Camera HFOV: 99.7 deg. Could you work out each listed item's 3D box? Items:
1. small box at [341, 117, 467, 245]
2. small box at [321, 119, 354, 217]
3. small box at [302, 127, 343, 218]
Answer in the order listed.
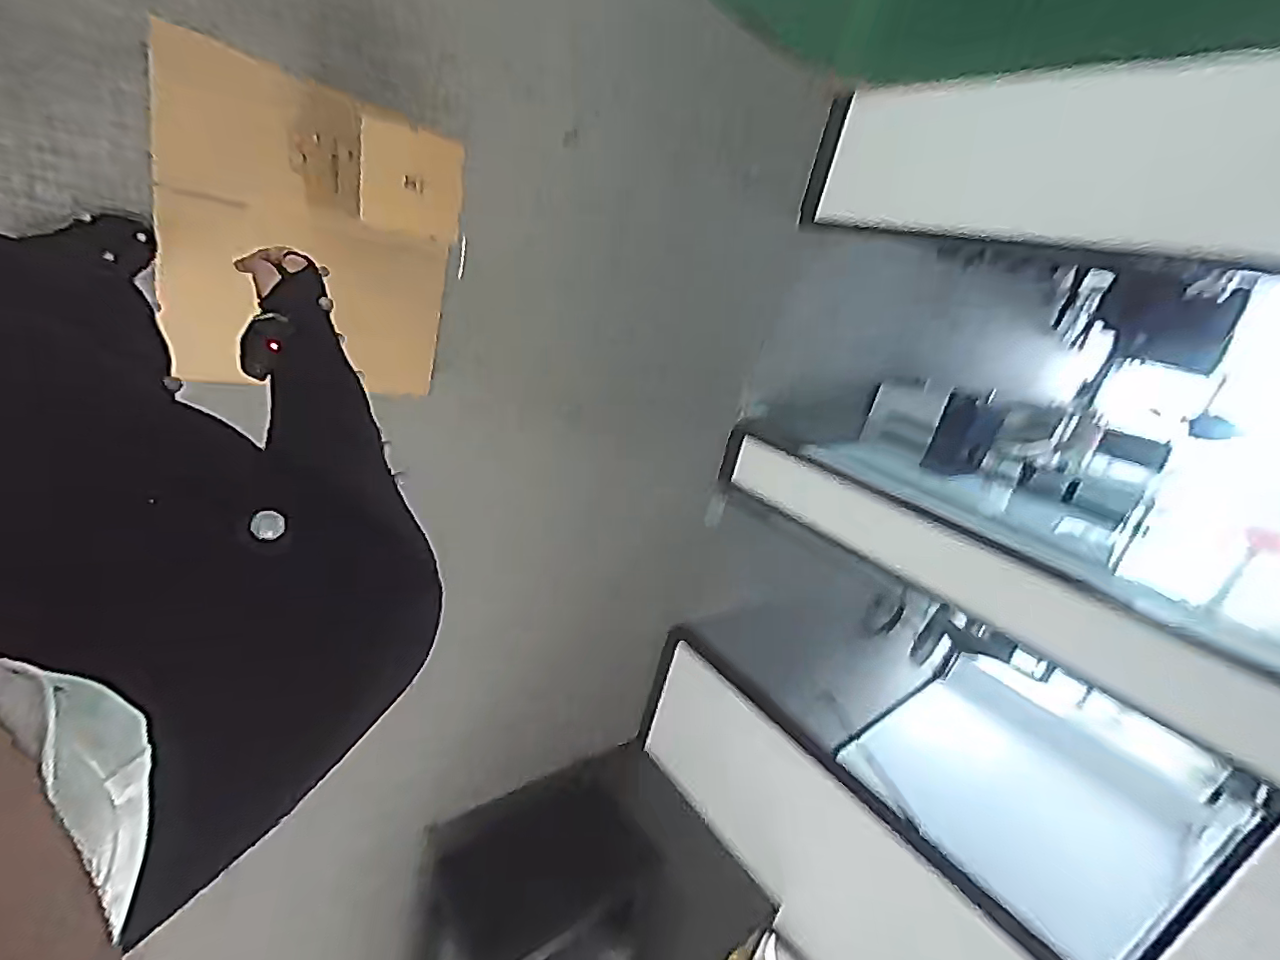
[{"bbox_3d":[-0.445,-0.547,1.006,0.179,0.176,0.168,-6,117,-41],"label":"small box"},{"bbox_3d":[-0.544,-0.617,1.114,0.179,0.176,0.168,-7,118,-41],"label":"small box"},{"bbox_3d":[-0.645,-0.683,1.224,0.179,0.176,0.168,-10,120,-38],"label":"small box"}]
